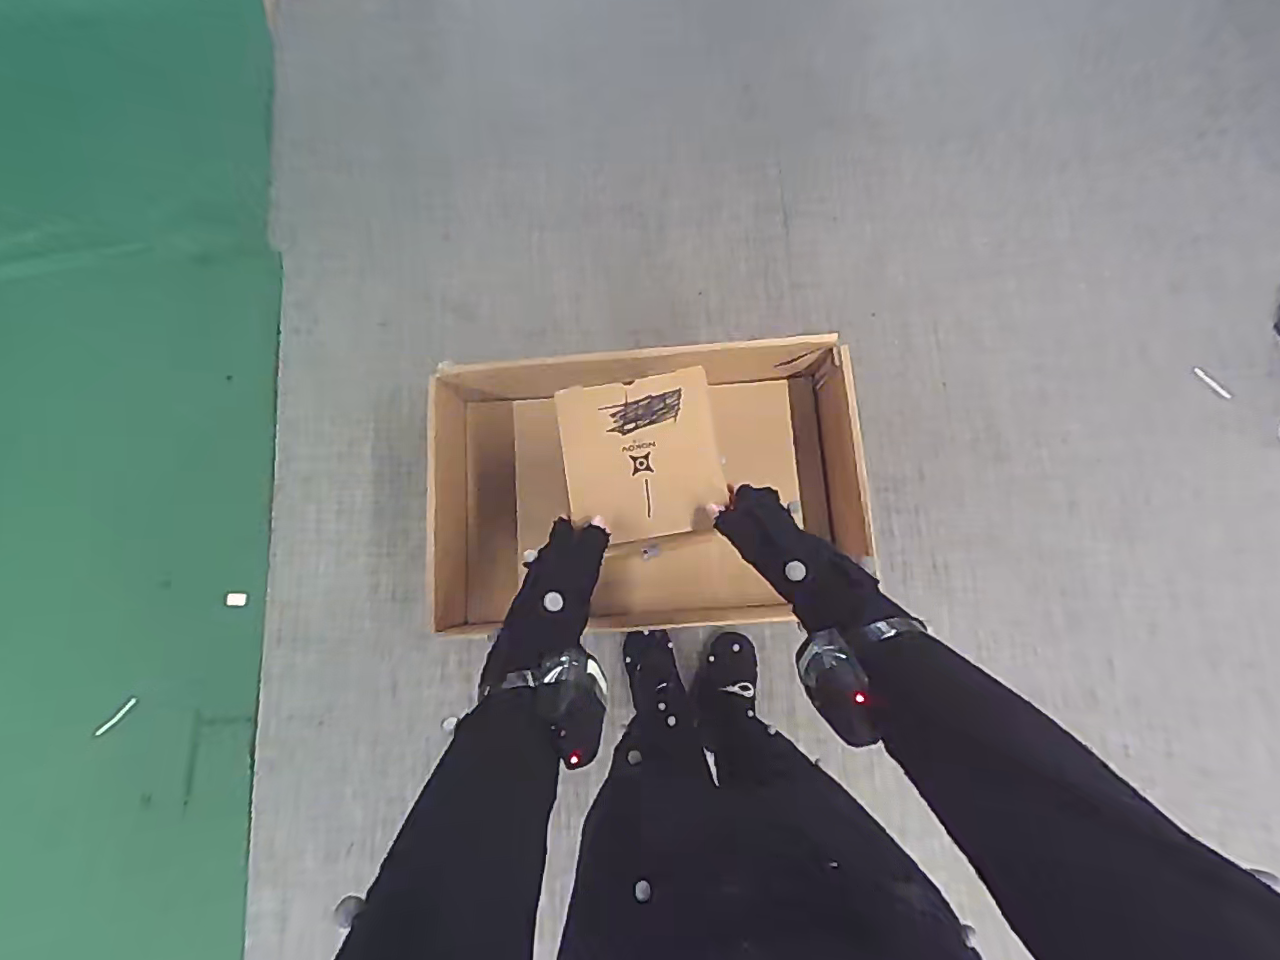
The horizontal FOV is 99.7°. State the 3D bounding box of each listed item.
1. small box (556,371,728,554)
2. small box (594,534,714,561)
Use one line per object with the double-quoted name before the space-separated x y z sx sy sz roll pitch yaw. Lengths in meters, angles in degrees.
"small box" 0.003 -0.010 0.655 0.168 0.176 0.179 -10 81 1
"small box" 0.010 0.021 0.816 0.168 0.176 0.179 -11 79 2
